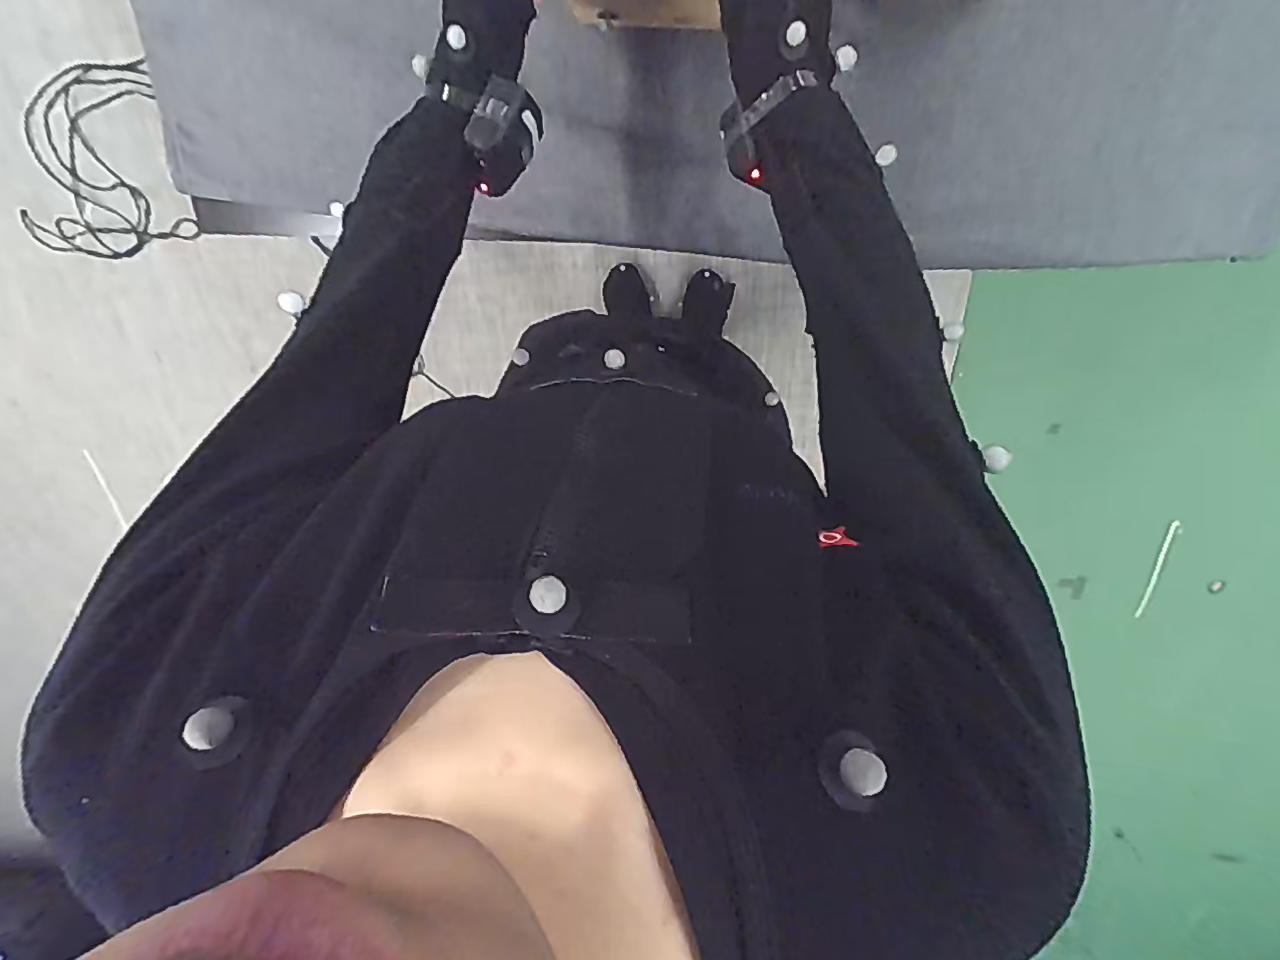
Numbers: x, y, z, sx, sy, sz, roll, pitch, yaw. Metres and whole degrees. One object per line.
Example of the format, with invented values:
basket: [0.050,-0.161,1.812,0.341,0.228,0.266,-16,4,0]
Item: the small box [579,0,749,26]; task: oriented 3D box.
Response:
small box: [0.019,-0.501,0.435,0.168,0.176,0.179,5,114,4]
